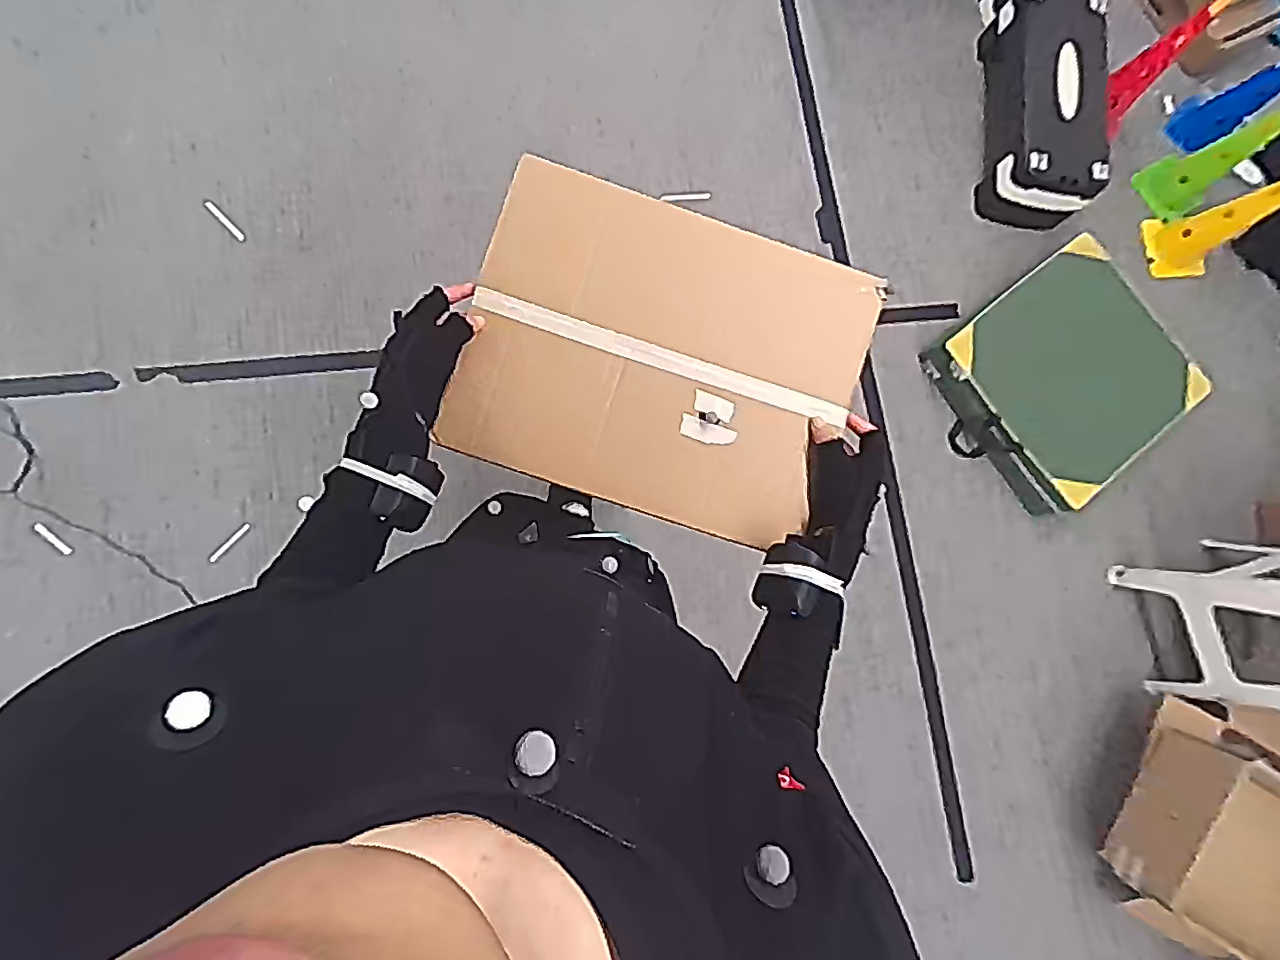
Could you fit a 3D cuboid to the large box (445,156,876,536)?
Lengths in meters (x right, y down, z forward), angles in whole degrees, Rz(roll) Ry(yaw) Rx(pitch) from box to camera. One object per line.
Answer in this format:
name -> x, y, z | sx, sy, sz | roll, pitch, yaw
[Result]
large box -> 0.016, -0.140, 0.725 | 0.408, 0.320, 0.320 | 19, 89, -3
